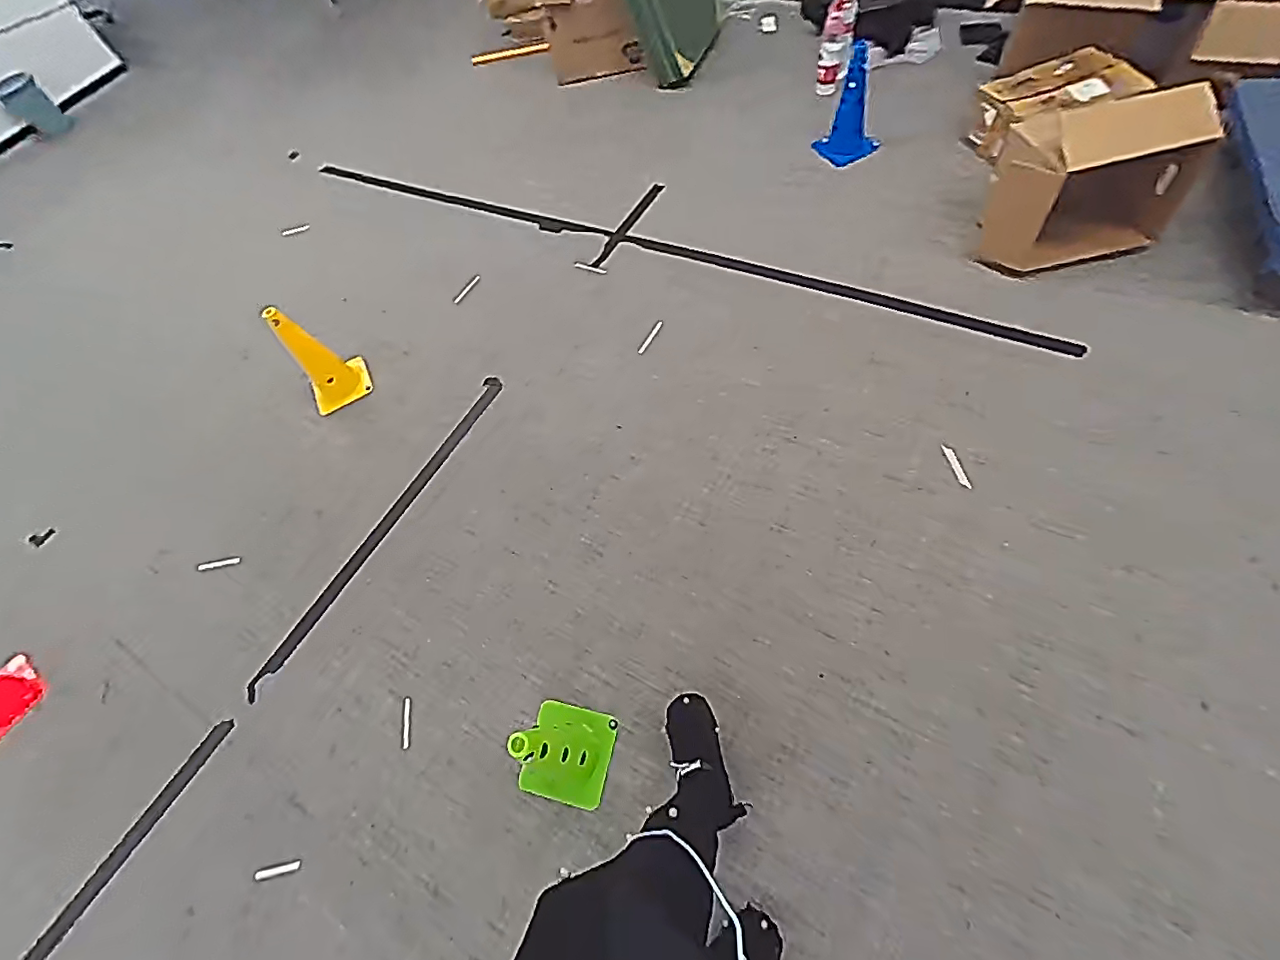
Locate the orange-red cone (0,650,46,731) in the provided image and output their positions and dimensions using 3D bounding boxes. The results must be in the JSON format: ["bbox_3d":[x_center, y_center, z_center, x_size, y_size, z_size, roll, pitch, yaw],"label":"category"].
[{"bbox_3d":[-1.860,0.537,1.416,0.198,0.360,0.199,32,70,23],"label":"orange-red cone"}]

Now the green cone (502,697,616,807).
[{"bbox_3d":[-0.199,0.551,1.113,0.200,0.368,0.202,8,64,15],"label":"green cone"}]
